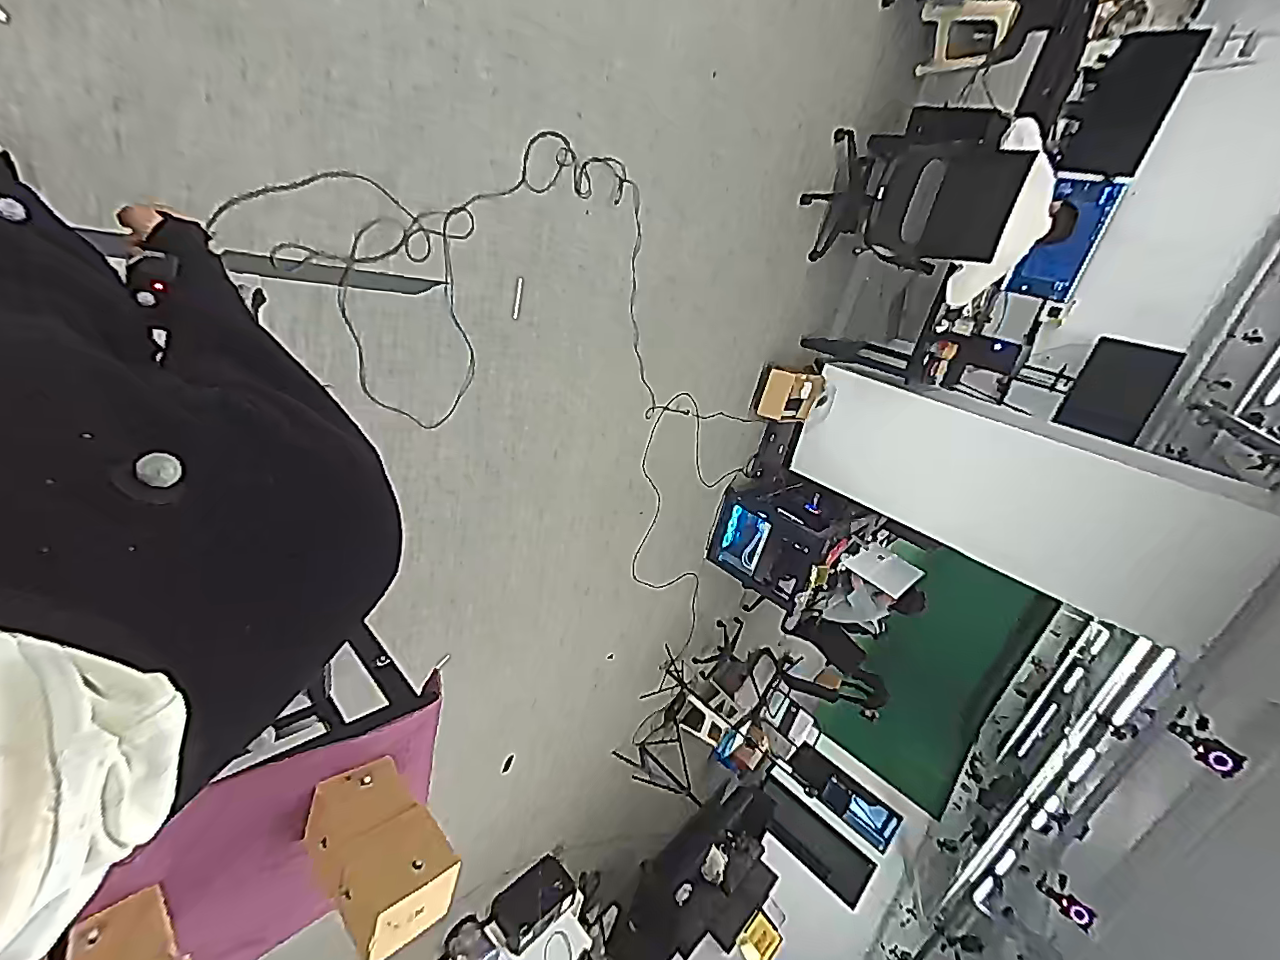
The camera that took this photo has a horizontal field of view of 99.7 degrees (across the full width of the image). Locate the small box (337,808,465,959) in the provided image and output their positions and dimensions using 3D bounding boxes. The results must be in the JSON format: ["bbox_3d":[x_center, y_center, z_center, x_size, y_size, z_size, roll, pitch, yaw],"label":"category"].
[{"bbox_3d":[-0.504,0.843,1.137,0.179,0.176,0.168,-3,116,-50],"label":"small box"}]

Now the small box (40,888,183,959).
[{"bbox_3d":[-0.916,0.879,0.941,0.179,0.176,0.168,-15,128,-45],"label":"small box"}]

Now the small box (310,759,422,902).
[{"bbox_3d":[-0.627,0.785,1.230,0.168,0.176,0.179,0,114,-51],"label":"small box"}]
